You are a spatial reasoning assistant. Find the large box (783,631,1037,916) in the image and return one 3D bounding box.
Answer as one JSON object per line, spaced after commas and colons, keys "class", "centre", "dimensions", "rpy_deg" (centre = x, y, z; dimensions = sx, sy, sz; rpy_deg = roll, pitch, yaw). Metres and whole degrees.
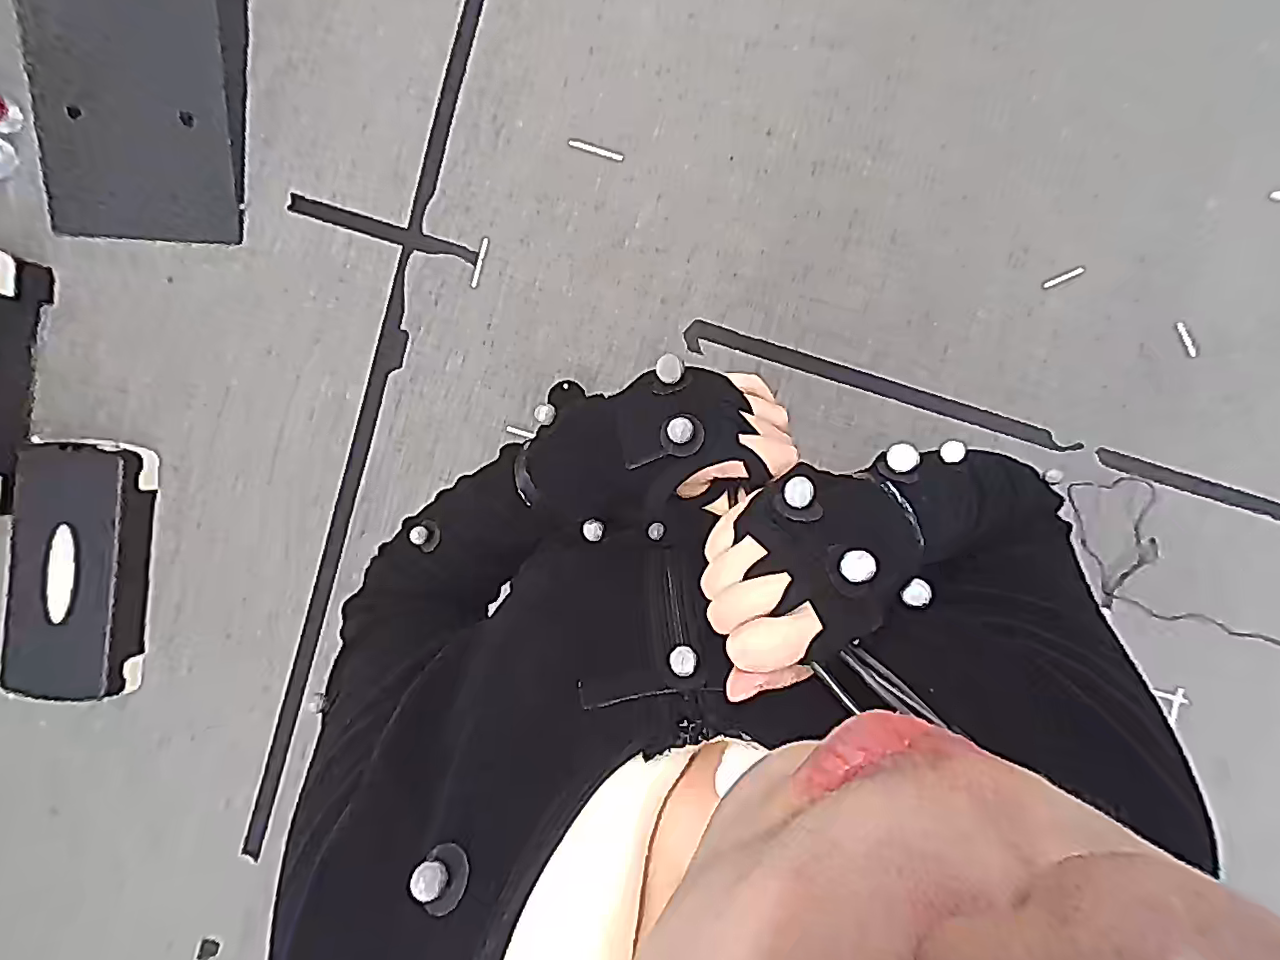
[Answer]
{"class": "large box", "centre": [0.567, 0.612, 1.200], "dimensions": [0.320, 0.320, 0.408], "rpy_deg": [-20, 93, 0]}
